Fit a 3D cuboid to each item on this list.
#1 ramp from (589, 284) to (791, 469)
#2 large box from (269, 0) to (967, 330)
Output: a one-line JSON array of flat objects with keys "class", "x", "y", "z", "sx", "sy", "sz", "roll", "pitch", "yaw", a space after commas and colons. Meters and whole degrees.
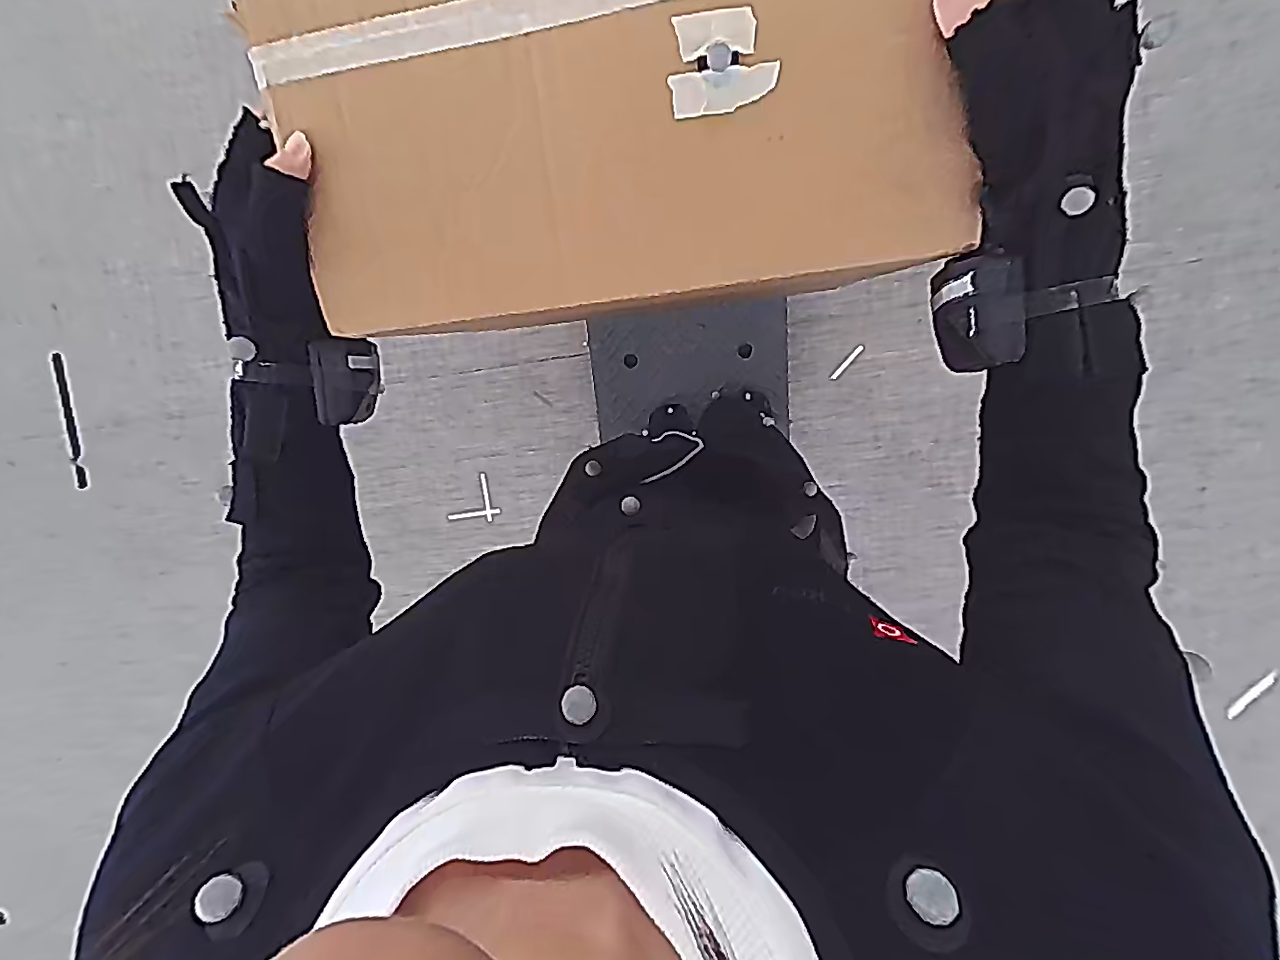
[{"class": "ramp", "x": 0.105, "y": -0.519, "z": 1.292, "sx": 0.509, "sy": 0.206, "sz": 0.991, "roll": -6, "pitch": 97, "yaw": 6}, {"class": "large box", "x": -0.010, "y": -0.312, "z": 0.451, "sx": 0.408, "sy": 0.320, "sz": 0.320, "roll": -6, "pitch": 106, "yaw": 8}]
